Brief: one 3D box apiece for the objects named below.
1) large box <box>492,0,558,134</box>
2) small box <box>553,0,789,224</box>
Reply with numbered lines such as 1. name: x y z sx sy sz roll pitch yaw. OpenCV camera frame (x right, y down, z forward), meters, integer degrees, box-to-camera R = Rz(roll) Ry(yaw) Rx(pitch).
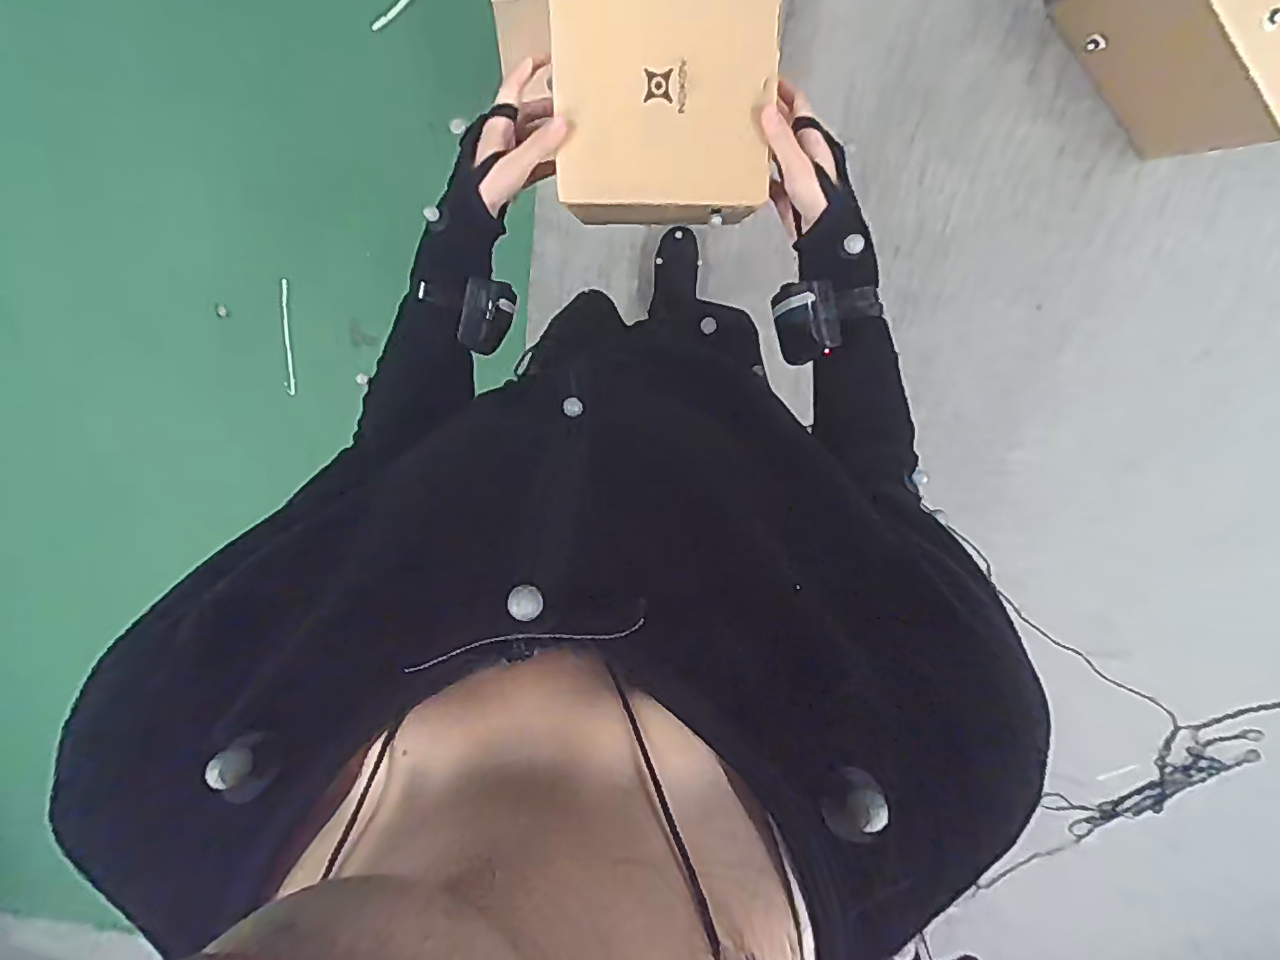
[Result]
1. large box: -0.040 -0.875 1.022 0.408 0.320 0.320 -2 113 6
2. small box: 0.022 -0.331 0.487 0.179 0.176 0.168 0 109 -1
